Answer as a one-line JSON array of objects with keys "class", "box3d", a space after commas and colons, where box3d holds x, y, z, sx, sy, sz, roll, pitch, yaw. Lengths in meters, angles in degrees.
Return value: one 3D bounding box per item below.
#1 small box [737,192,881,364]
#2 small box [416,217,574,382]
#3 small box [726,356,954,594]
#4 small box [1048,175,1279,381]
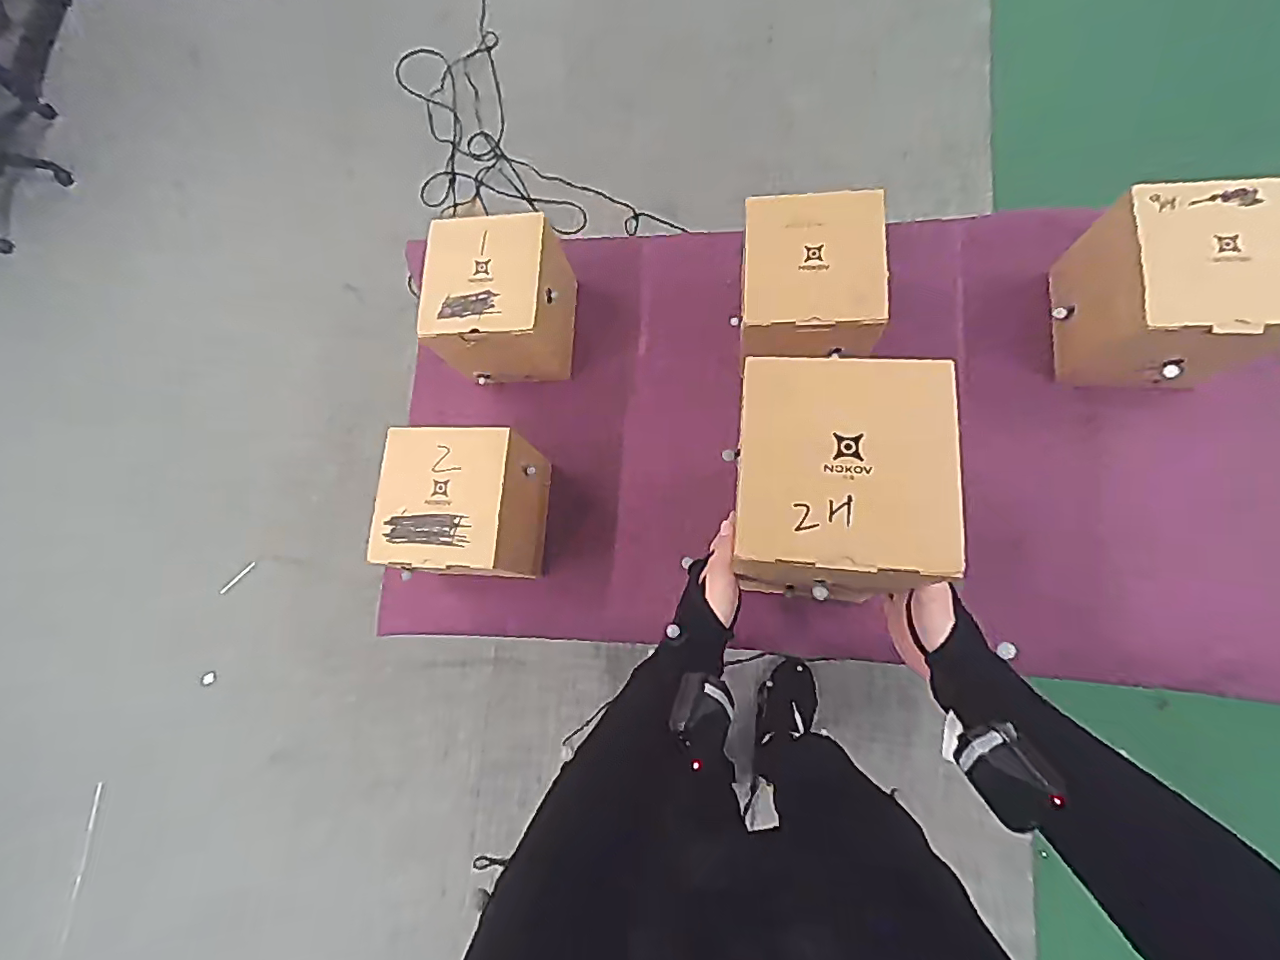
[{"class": "small box", "box3d": [0.217, -0.248, 0.725, 0.168, 0.176, 0.179, 1, 78, 10]}, {"class": "small box", "box3d": [-0.201, -0.251, 0.797, 0.168, 0.176, 0.179, 0, 78, 10]}, {"class": "small box", "box3d": [0.168, 0.004, 0.500, 0.168, 0.176, 0.179, 3, 75, 11]}, {"class": "small box", "box3d": [0.625, -0.226, 0.647, 0.168, 0.176, 0.179, 3, 80, 11]}]
